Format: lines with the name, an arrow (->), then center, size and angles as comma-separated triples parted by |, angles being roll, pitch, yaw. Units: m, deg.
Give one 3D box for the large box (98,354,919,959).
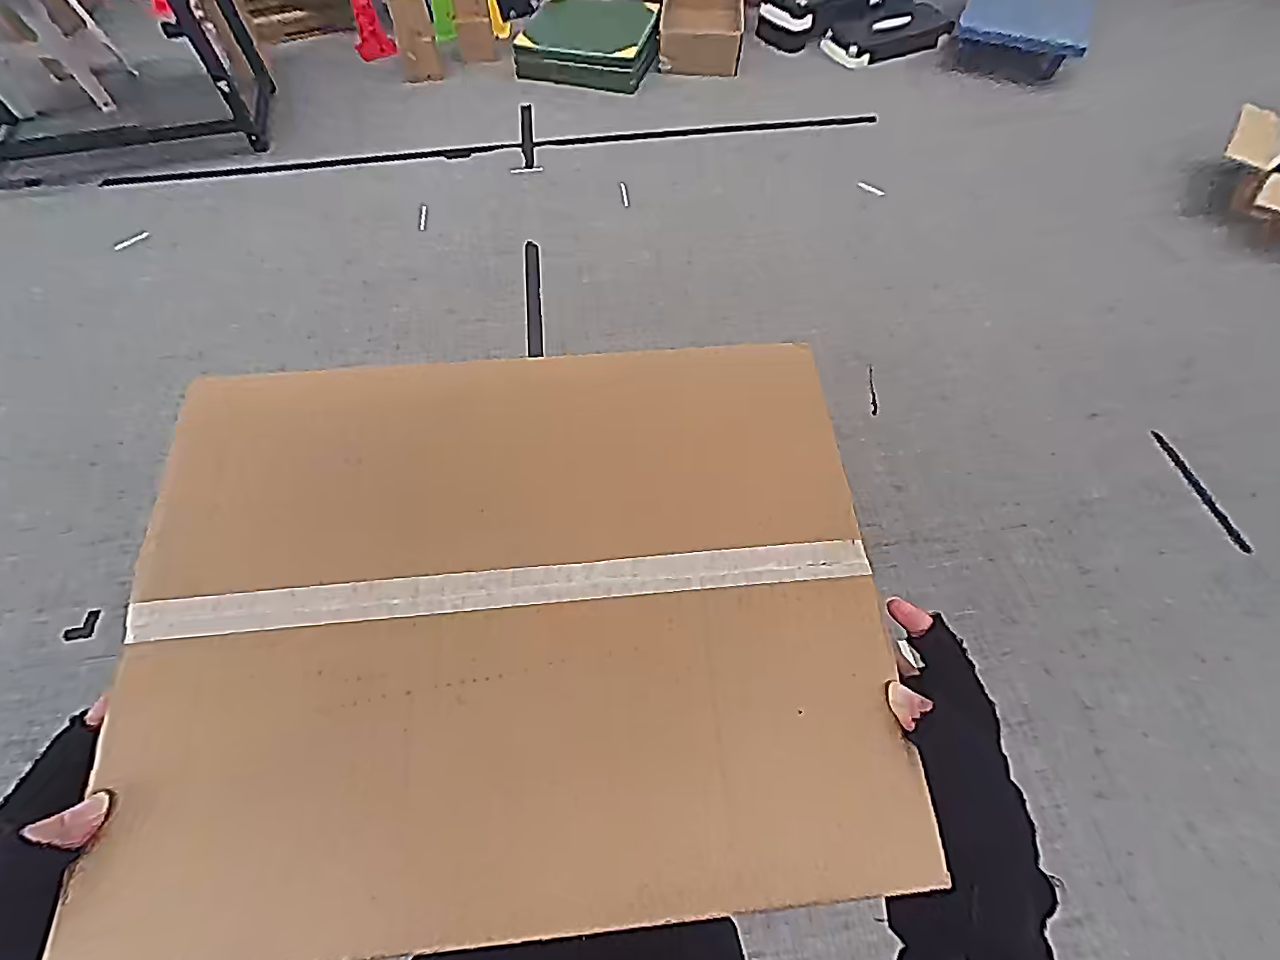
large box -> -0.074, 0.124, 0.455 | 0.408, 0.320, 0.320 | -4, 68, -4
